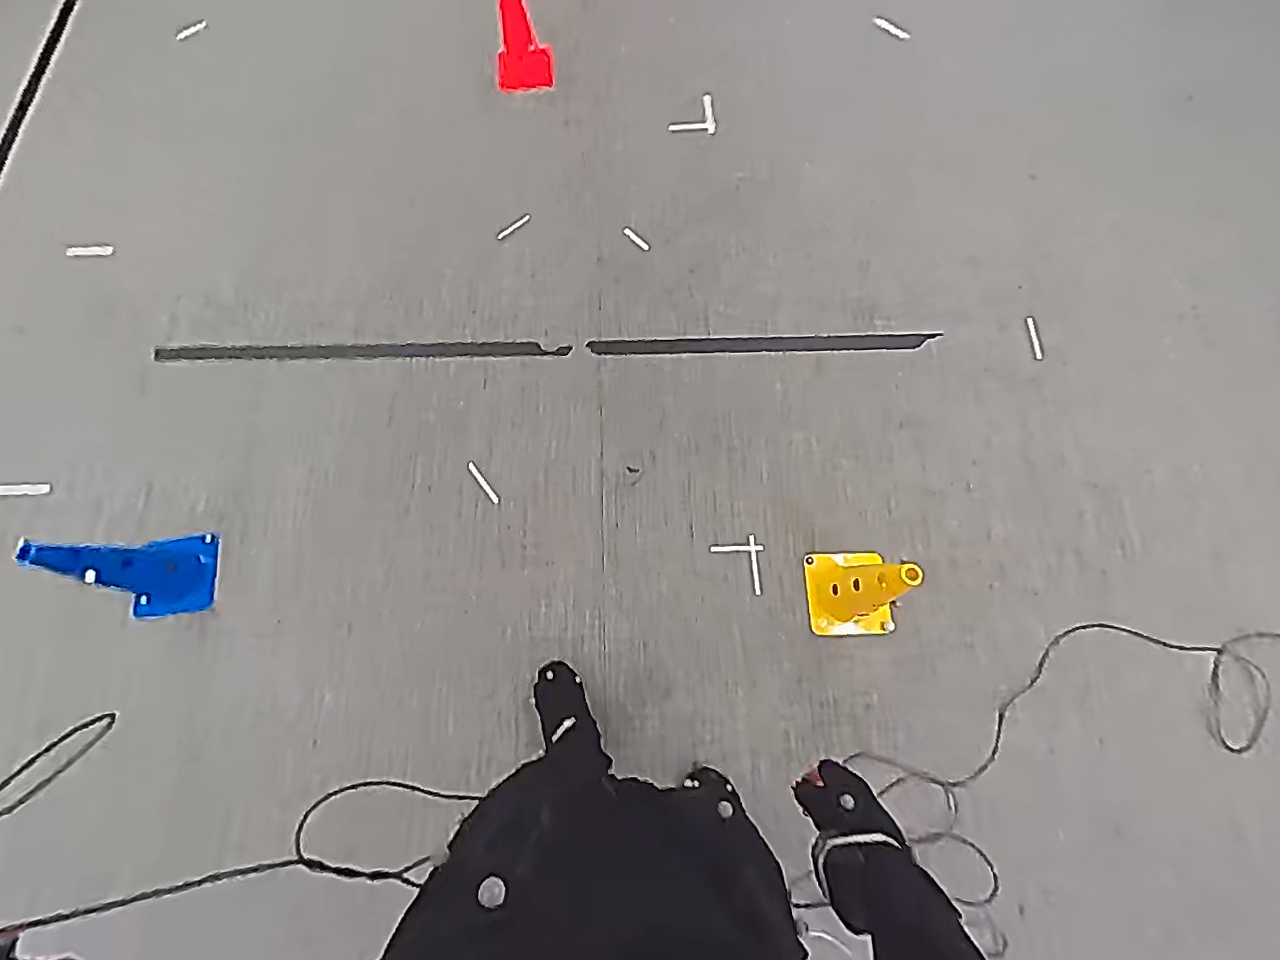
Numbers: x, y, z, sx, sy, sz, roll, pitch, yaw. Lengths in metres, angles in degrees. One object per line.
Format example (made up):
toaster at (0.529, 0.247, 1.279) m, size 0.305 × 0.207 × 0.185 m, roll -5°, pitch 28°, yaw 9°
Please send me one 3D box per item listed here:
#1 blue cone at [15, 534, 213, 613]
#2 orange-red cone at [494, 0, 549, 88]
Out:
blue cone at (-1.207, 0.191, 1.239) m, size 0.193 × 0.380 × 0.192 m, roll -7°, pitch 72°, yaw 0°
orange-red cone at (-0.429, -1.527, 1.764) m, size 0.199 × 0.360 × 0.198 m, roll -6°, pitch 72°, yaw 1°
